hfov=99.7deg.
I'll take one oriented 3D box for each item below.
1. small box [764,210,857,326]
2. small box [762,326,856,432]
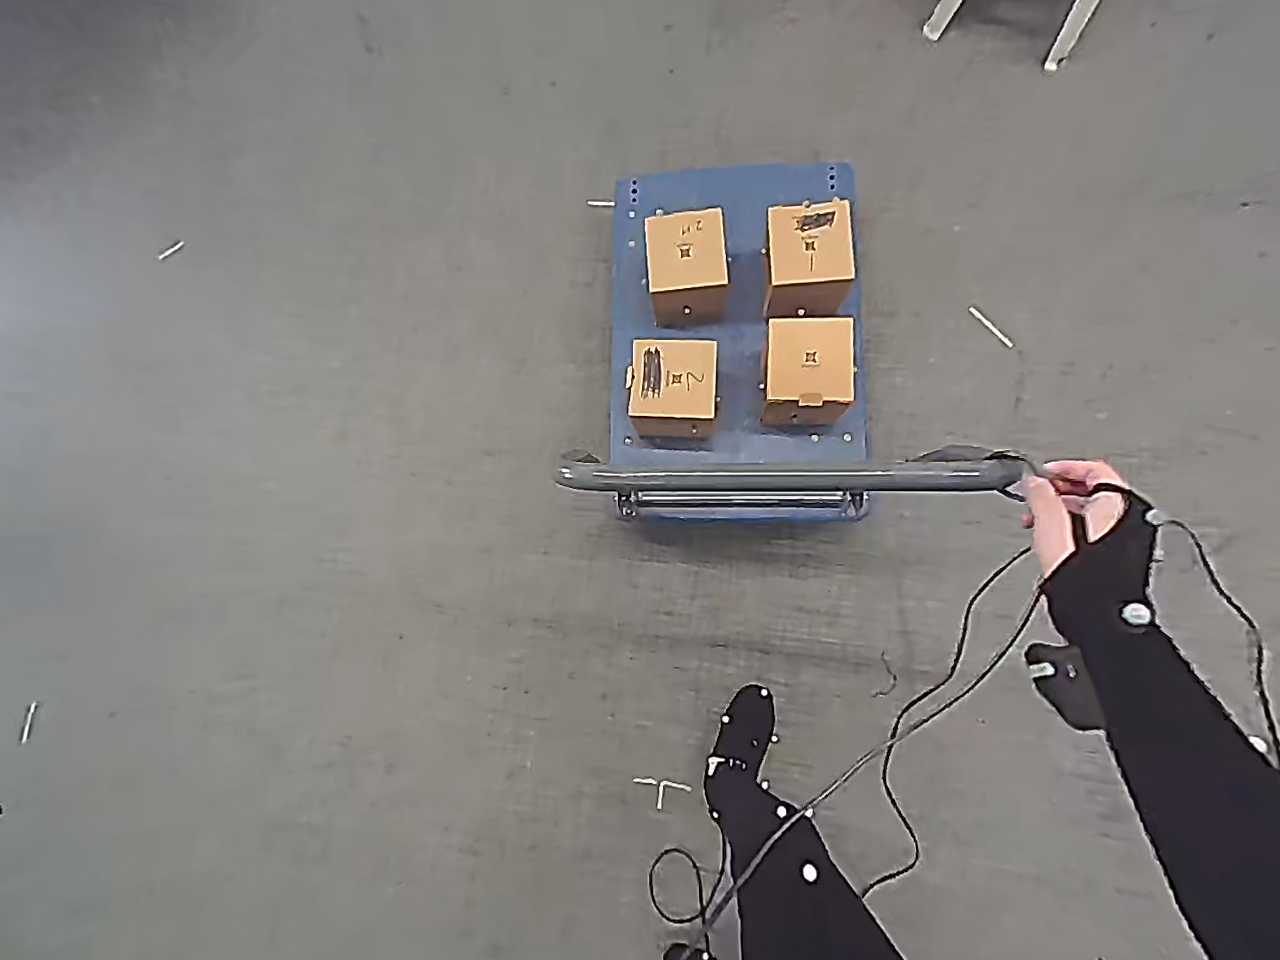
[{"bbox_3d":[0.366,-0.456,1.185,0.168,0.176,0.179,-2,82,7],"label":"small box"},{"bbox_3d":[0.351,-0.210,1.147,0.168,0.176,0.179,2,82,7],"label":"small box"}]
